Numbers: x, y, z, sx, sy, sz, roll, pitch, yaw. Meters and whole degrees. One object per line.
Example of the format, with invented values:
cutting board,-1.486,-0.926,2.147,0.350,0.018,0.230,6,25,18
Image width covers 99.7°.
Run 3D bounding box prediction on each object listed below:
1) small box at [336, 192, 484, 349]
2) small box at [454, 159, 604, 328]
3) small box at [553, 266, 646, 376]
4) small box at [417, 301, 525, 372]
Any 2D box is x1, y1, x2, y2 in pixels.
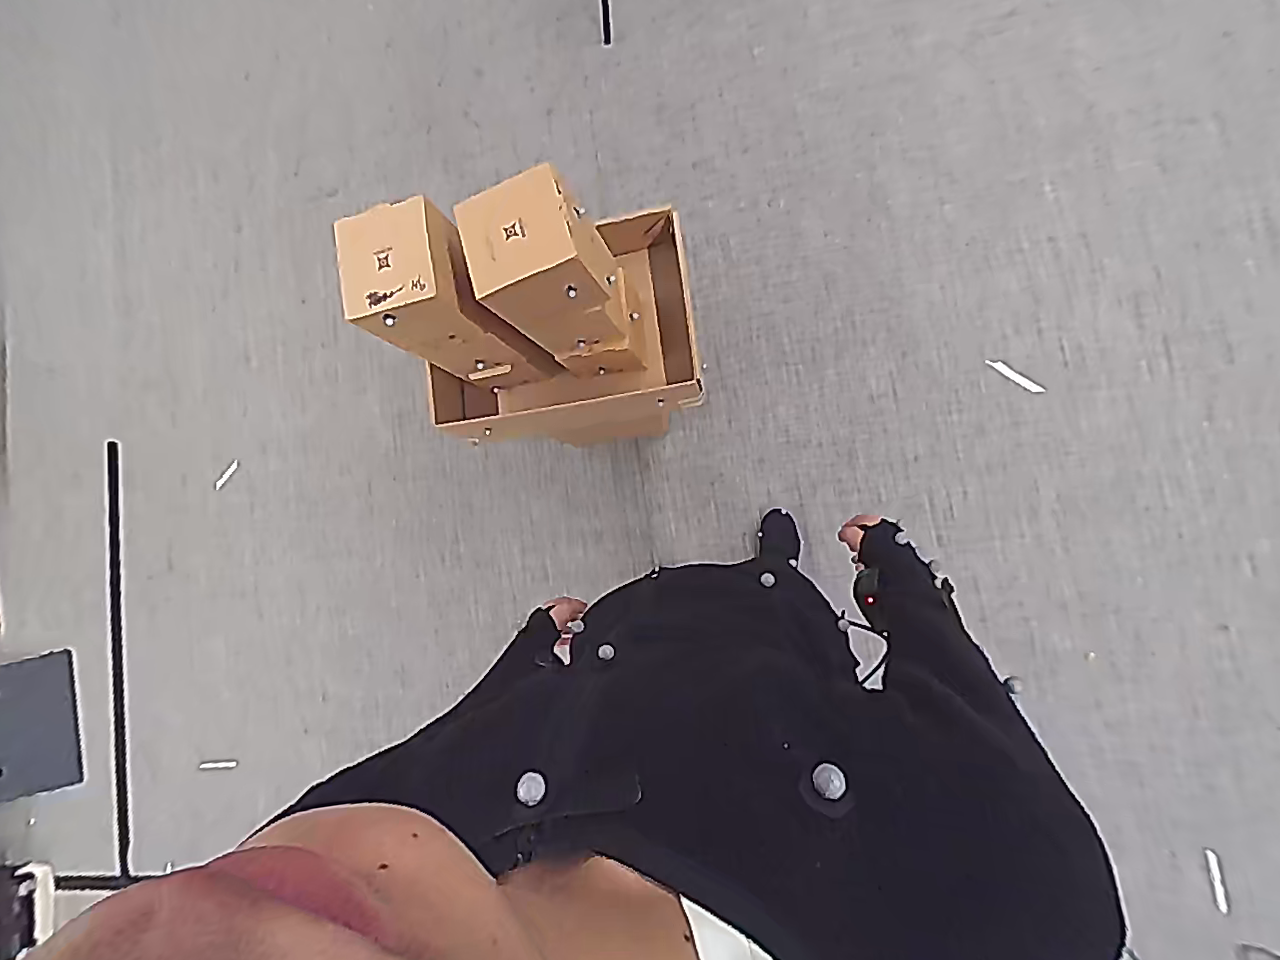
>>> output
small box,-0.388,-0.350,0.933,0.168,0.176,0.179,-11,82,12
small box,-0.172,-0.376,0.895,0.179,0.176,0.168,-17,82,14
small box,-0.088,-0.348,1.210,0.168,0.176,0.179,-6,85,14
small box,-0.349,-0.338,1.094,0.168,0.176,0.179,-10,84,11
